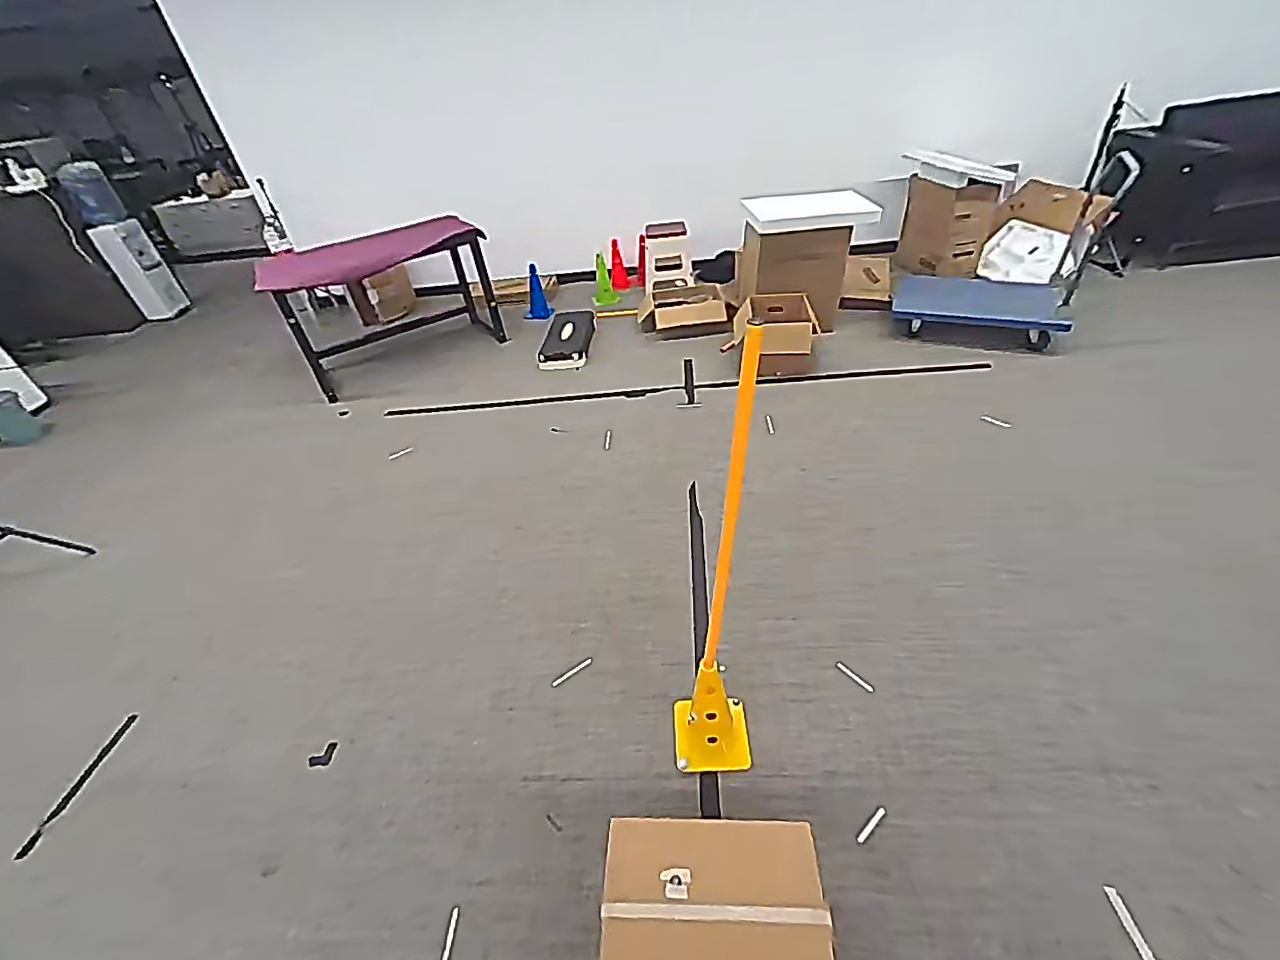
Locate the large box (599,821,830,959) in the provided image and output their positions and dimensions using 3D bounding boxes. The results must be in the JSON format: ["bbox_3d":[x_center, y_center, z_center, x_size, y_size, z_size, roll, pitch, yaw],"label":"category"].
[{"bbox_3d":[0.144,0.910,1.070,0.408,0.320,0.320,-3,37,6],"label":"large box"}]
